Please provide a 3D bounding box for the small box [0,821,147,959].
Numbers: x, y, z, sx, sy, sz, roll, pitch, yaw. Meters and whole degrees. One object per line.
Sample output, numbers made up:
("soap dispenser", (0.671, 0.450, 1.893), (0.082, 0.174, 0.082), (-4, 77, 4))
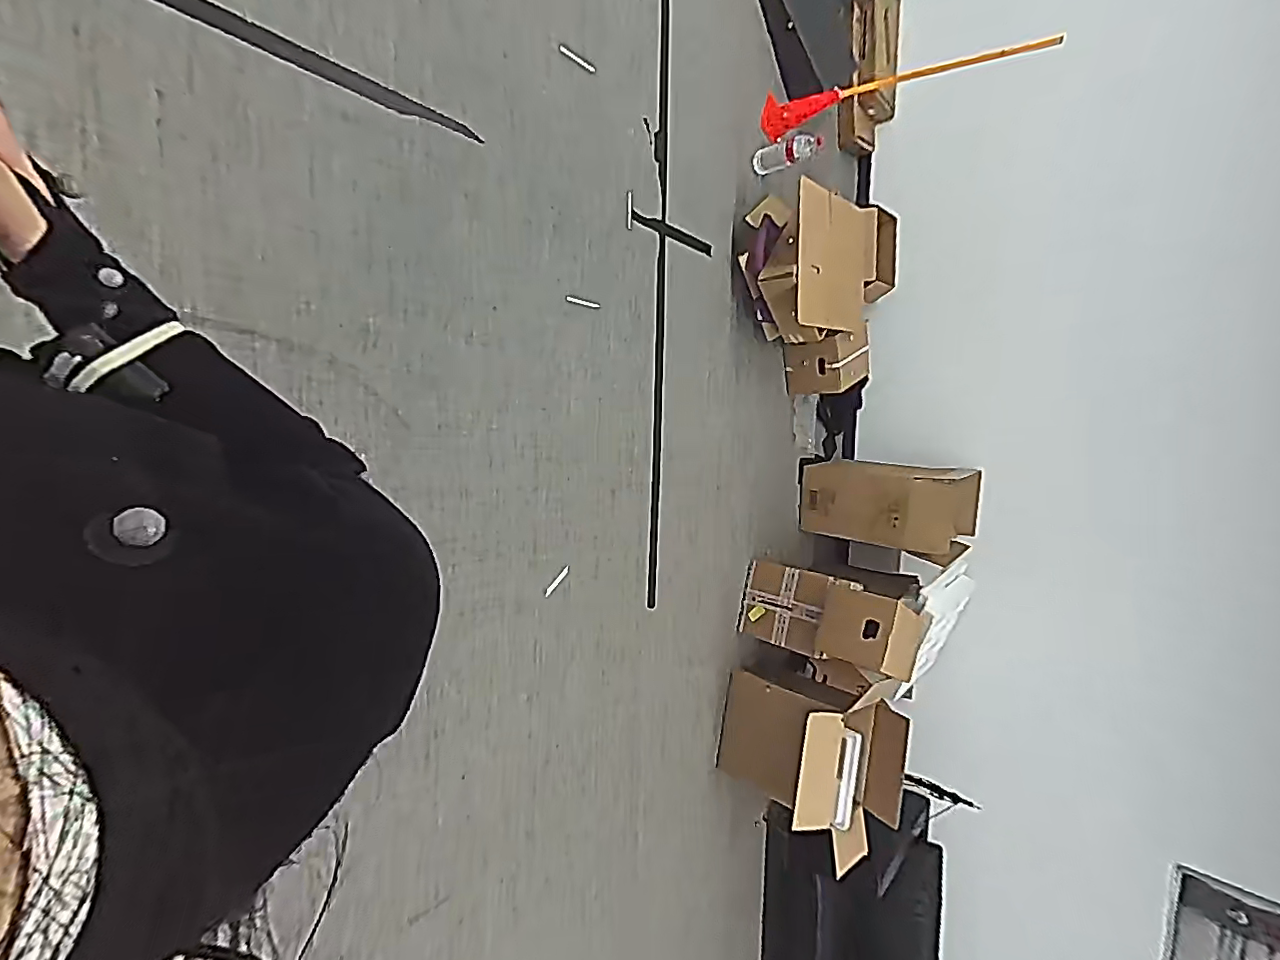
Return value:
("small box", (-0.664, 0.533, 0.600), (0.168, 0.176, 0.179), (-5, 98, -47))
